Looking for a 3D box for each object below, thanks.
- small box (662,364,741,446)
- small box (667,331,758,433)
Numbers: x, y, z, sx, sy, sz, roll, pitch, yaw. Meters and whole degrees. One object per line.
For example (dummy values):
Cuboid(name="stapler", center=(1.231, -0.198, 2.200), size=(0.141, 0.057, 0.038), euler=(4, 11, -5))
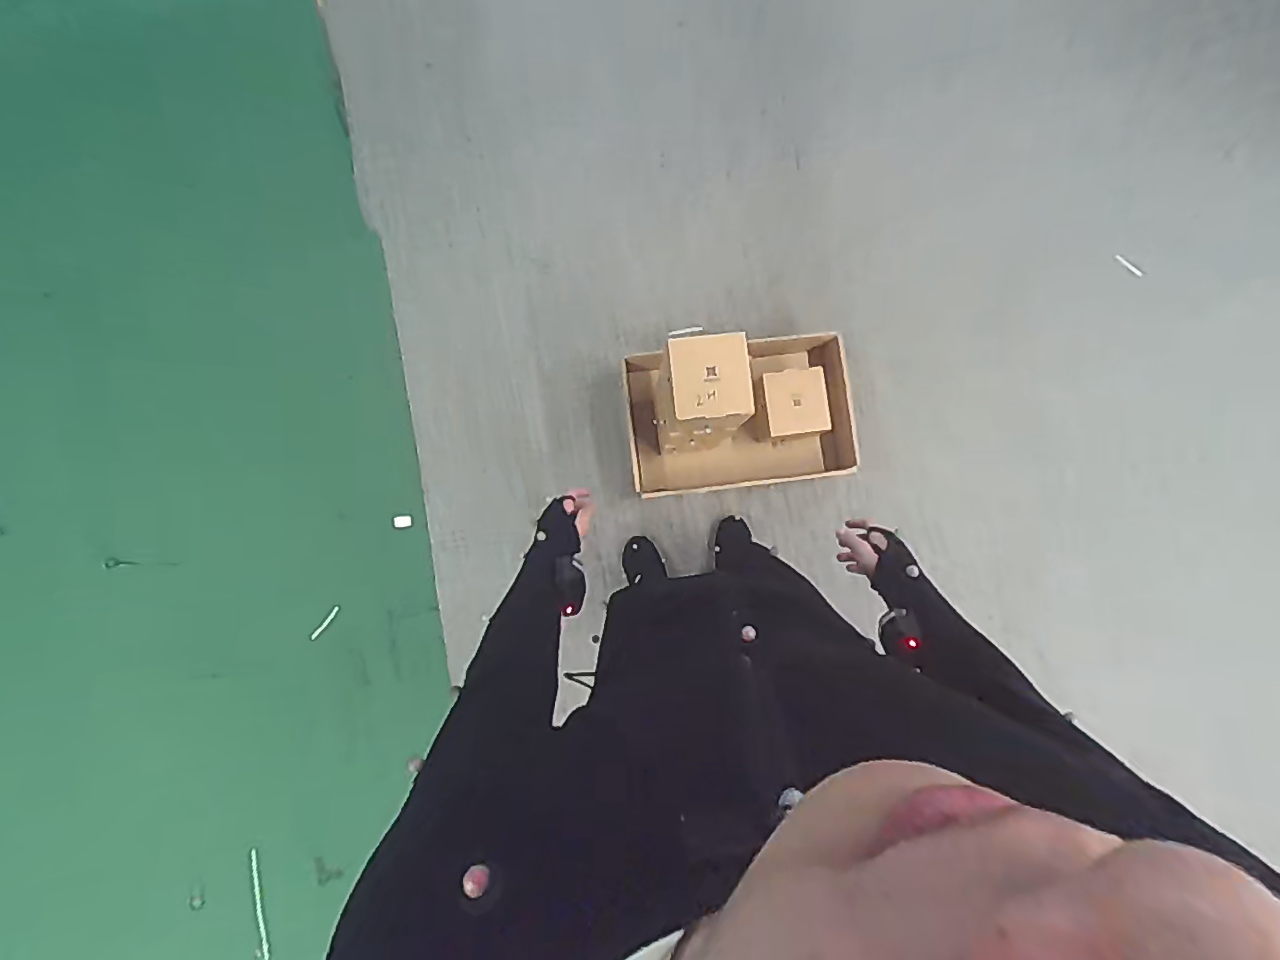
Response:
Cuboid(name="small box", center=(0.148, -0.190, 1.352), size=(0.168, 0.176, 0.179), euler=(-6, 86, -1))
Cuboid(name="small box", center=(0.152, -0.209, 1.189), size=(0.168, 0.176, 0.179), euler=(-6, 85, -1))
